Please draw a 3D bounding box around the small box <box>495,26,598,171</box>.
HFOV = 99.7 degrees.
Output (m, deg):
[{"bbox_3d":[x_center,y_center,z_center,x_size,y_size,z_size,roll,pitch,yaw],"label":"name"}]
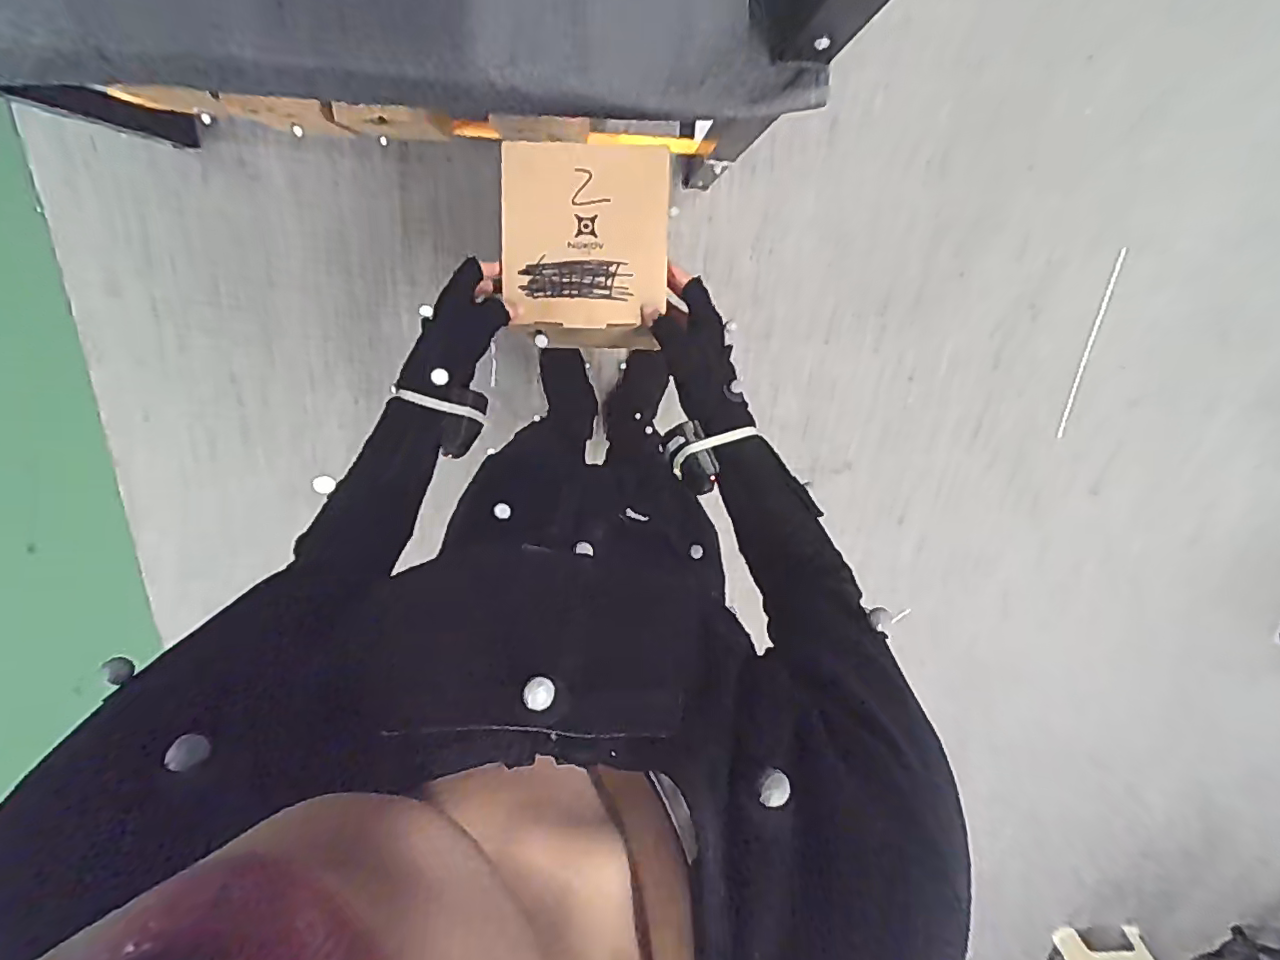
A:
[{"bbox_3d":[-0.171,-0.711,1.028,0.168,0.176,0.179,8,111,-4],"label":"small box"}]
